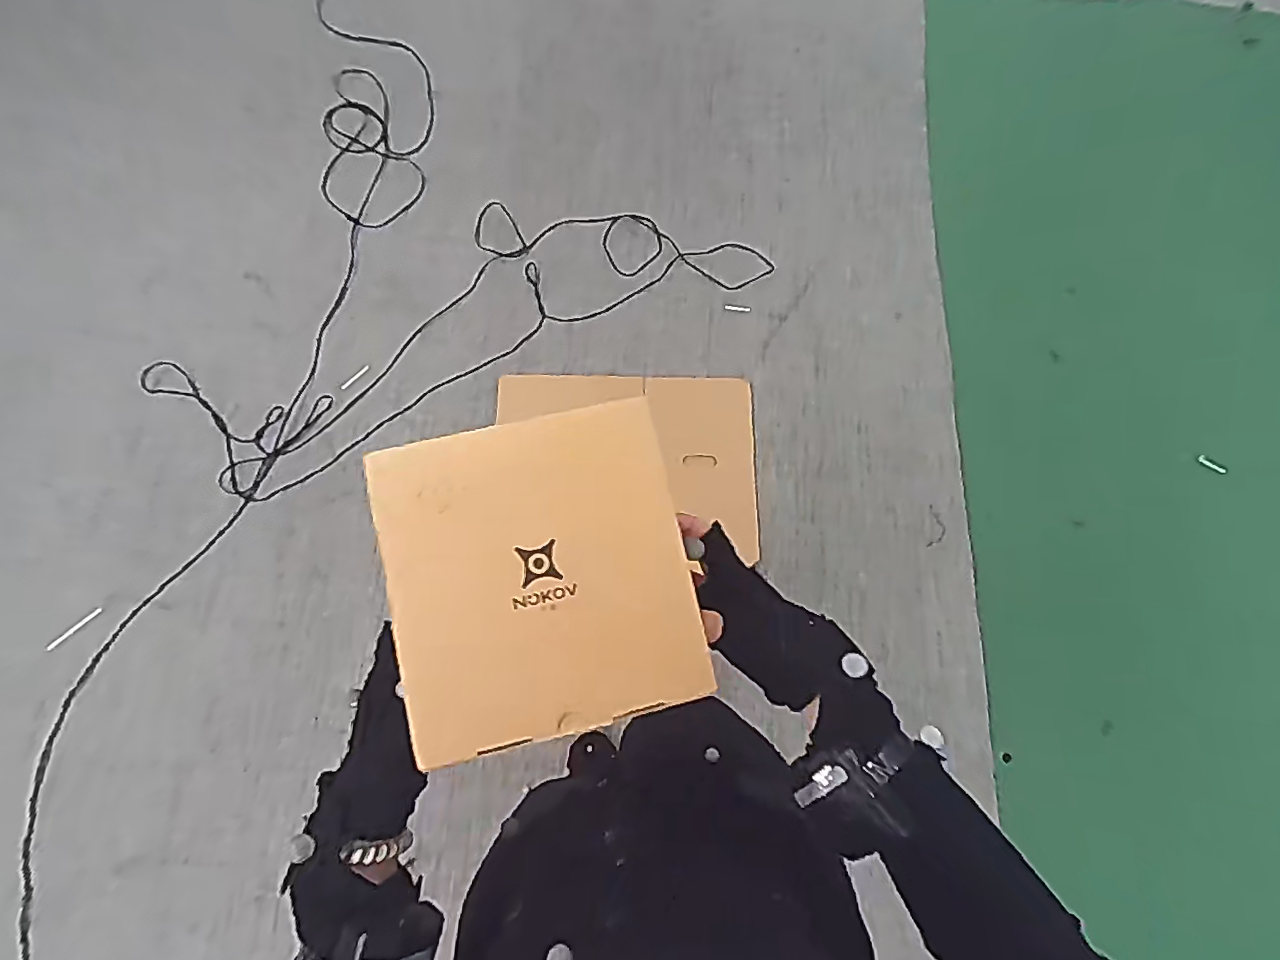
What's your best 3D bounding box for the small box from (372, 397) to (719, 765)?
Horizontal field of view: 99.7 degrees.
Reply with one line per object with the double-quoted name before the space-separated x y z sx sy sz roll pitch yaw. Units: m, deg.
"small box" -0.060 0.062 0.381 0.168 0.176 0.179 -13 84 -6
